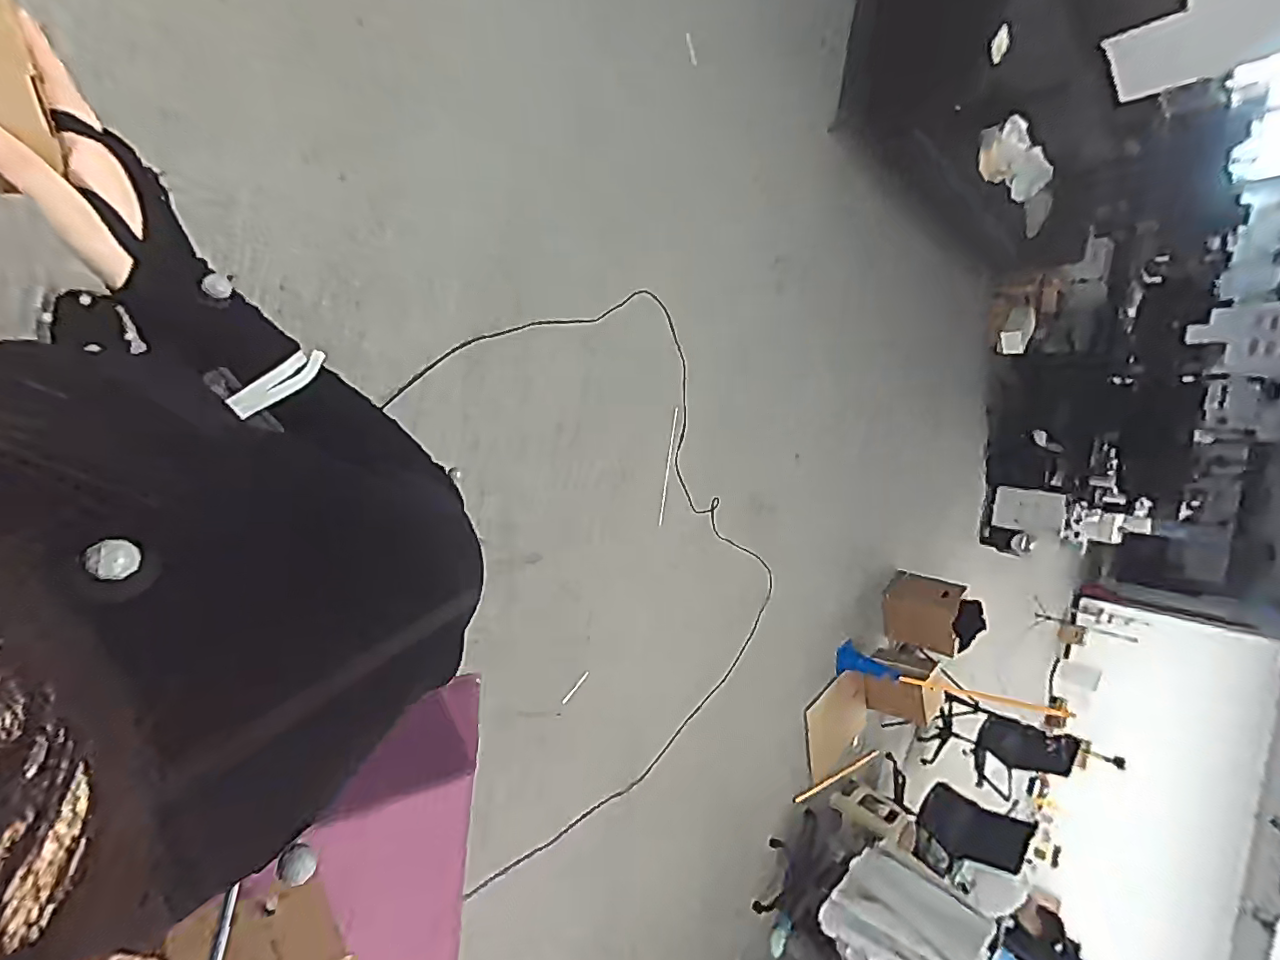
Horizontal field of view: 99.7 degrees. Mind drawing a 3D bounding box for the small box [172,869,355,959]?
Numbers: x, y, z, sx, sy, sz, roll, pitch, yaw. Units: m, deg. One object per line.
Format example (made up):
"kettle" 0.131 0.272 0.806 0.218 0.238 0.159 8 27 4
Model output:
"small box" -0.473 0.643 0.669 0.168 0.176 0.179 4 94 -44
